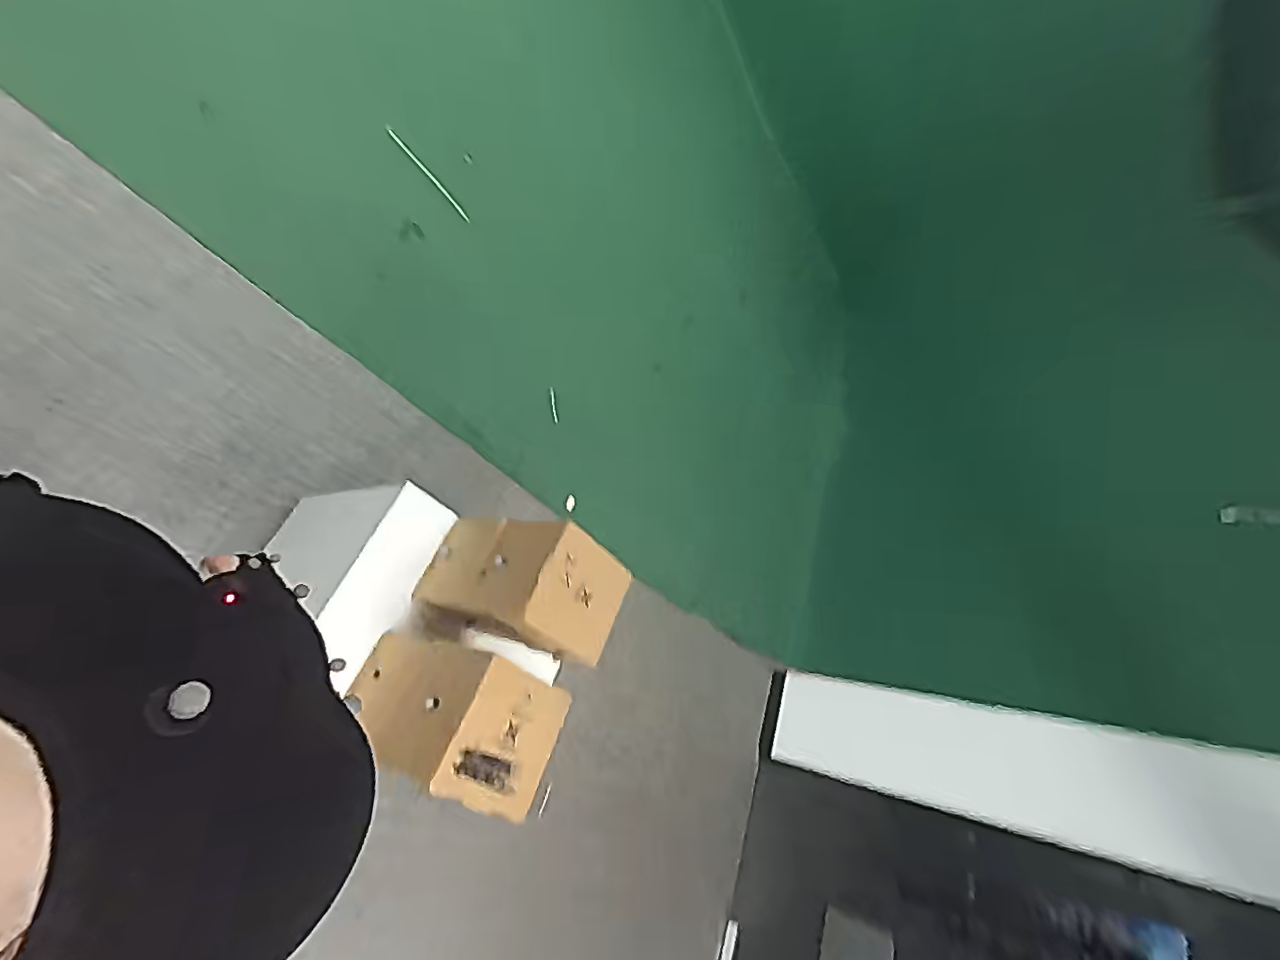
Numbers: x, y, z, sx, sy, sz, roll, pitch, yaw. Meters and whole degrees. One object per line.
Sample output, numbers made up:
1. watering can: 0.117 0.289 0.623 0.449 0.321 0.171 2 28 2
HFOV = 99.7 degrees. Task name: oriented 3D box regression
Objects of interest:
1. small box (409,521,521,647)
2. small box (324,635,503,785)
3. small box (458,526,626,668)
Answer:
1. small box: -0.284 0.185 1.002 0.179 0.176 0.168 46 55 -36
2. small box: -0.370 0.369 0.890 0.179 0.176 0.168 48 52 -35
3. small box: -0.159 0.185 0.895 0.179 0.176 0.168 48 54 -36
